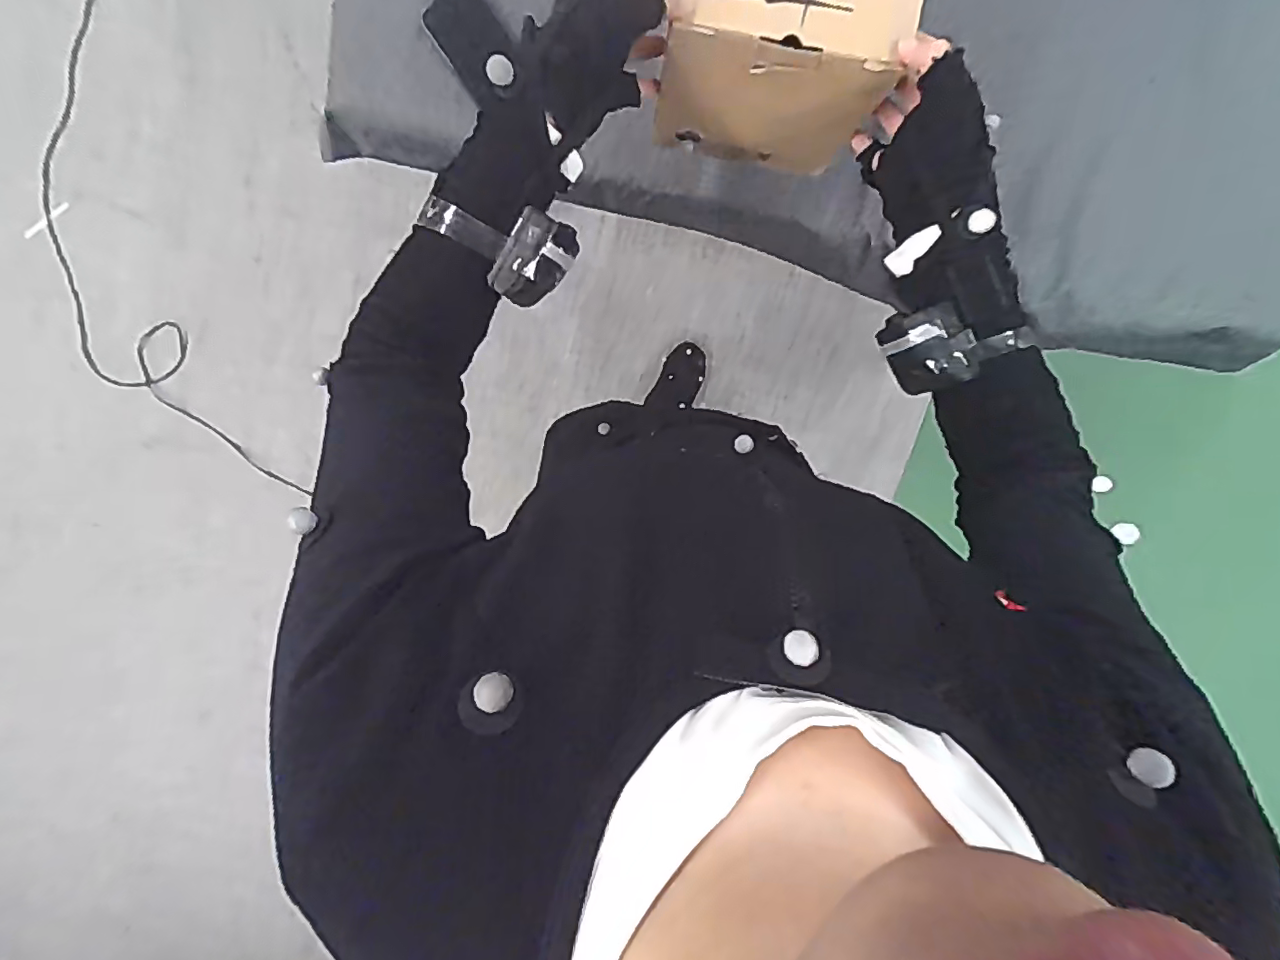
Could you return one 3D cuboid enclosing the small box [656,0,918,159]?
[{"bbox_3d":[0.108,-0.388,0.426,0.168,0.176,0.179,8,96,-5],"label":"small box"}]
